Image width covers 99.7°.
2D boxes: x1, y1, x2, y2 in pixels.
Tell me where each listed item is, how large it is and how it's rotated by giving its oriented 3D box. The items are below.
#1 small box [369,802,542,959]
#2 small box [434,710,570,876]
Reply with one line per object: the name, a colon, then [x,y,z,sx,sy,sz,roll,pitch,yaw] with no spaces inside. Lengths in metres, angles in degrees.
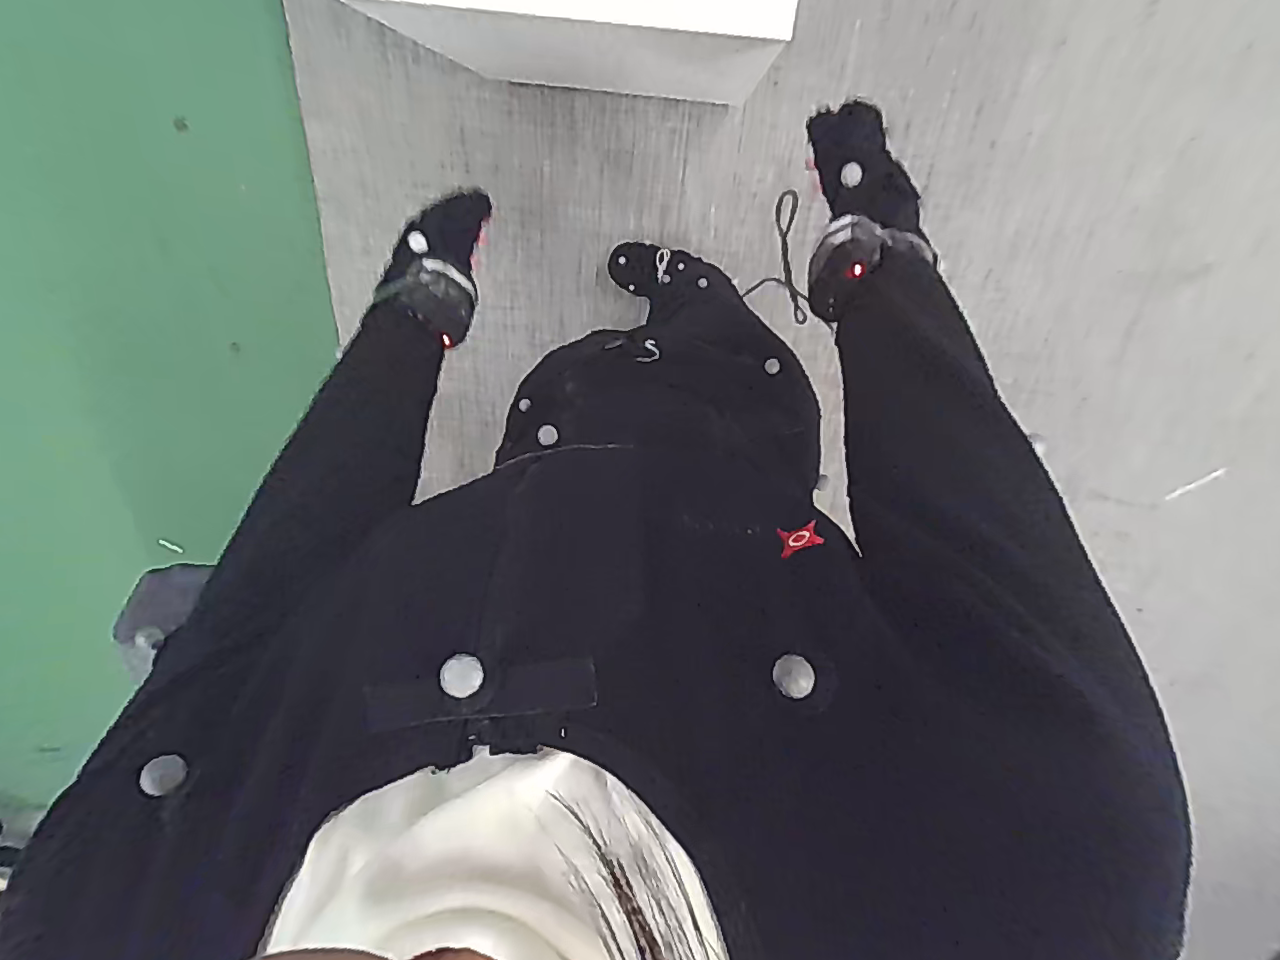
small box: [-0.236,0.583,0.744,0.168,0.176,0.179,7,121,4]
small box: [-0.218,0.506,0.888,0.179,0.176,0.168,9,119,1]
